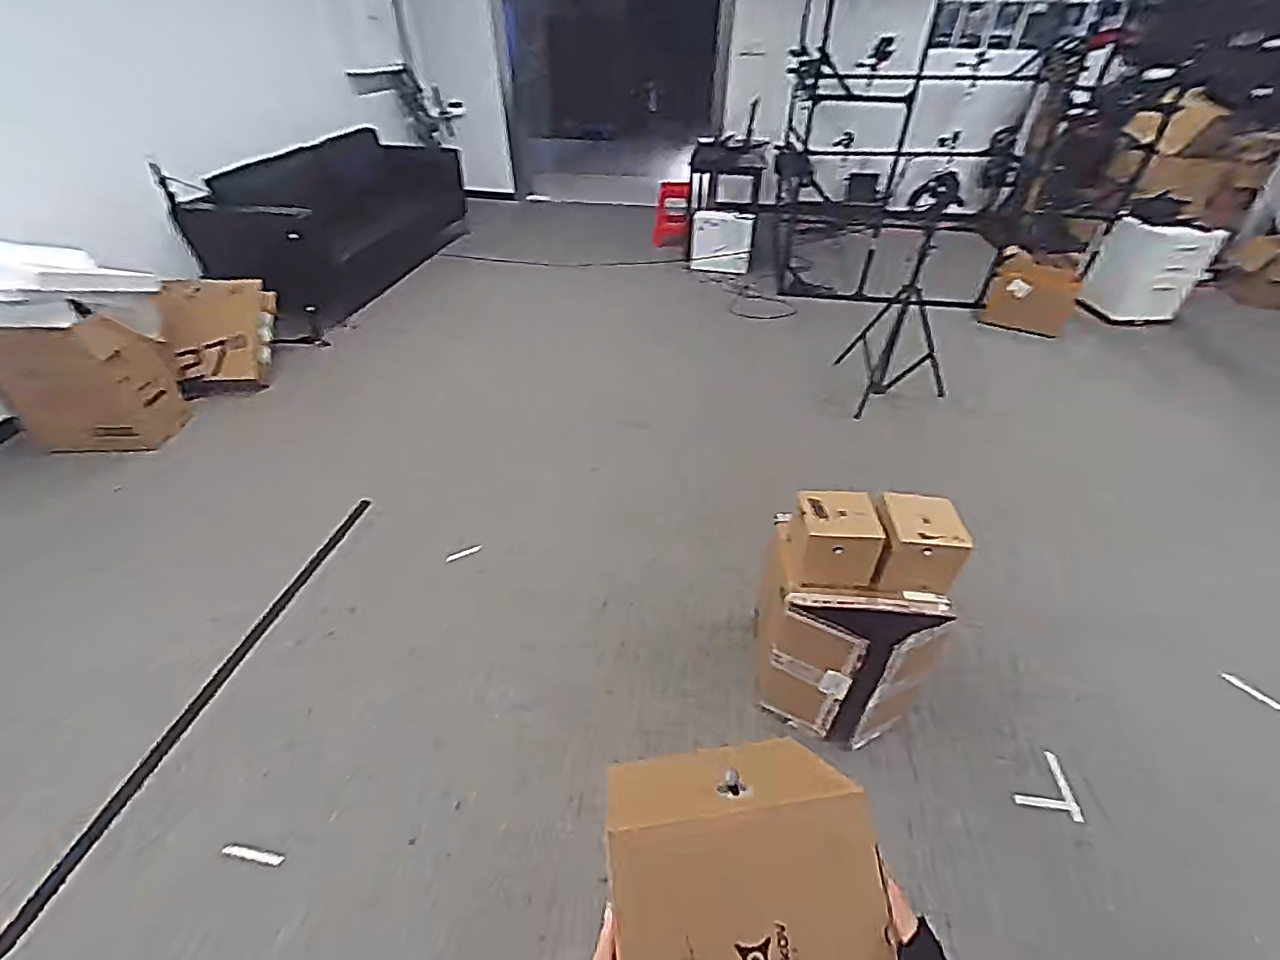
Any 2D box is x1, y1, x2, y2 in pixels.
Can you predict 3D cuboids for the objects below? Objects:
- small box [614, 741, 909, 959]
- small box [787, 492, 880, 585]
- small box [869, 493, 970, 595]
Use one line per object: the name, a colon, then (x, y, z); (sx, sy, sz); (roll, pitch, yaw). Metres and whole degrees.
small box: (0.074, 0.308, 0.406); (0.179, 0.176, 0.168); (-7, 74, -4)
small box: (0.470, 0.146, 1.347); (0.179, 0.176, 0.168); (1, 38, 2)
small box: (0.668, 0.157, 1.336); (0.168, 0.176, 0.179); (5, 38, 3)
